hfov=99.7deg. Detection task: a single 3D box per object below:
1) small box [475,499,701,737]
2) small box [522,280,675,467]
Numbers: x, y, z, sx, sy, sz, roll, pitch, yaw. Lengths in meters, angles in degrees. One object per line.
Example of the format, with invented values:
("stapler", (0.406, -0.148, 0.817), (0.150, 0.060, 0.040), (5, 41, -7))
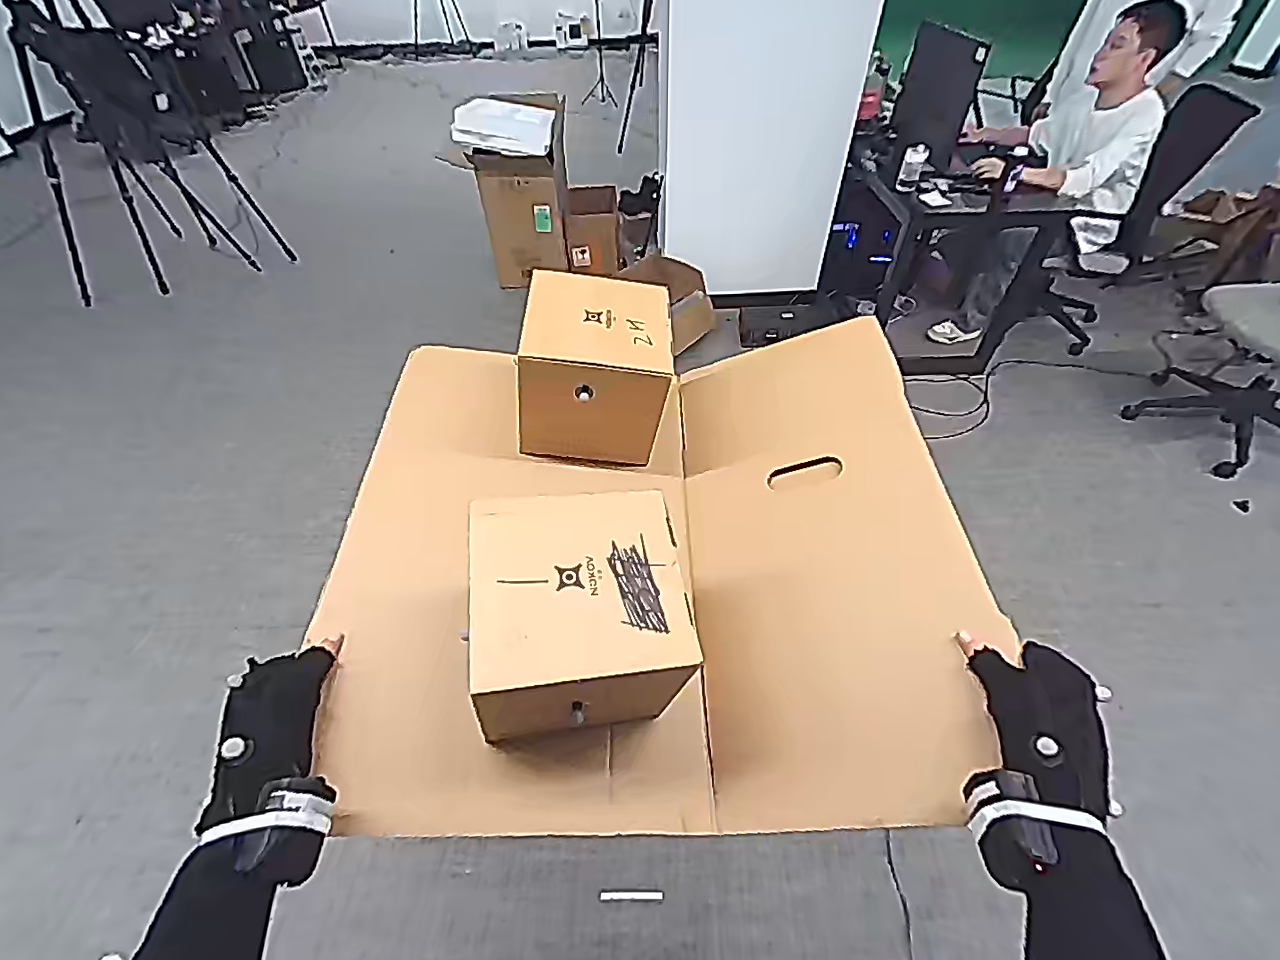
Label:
("small box", (-0.060, 0.133, 0.517), (0.179, 0.176, 0.168), (-3, 55, -13))
("small box", (-0.057, -0.134, 0.715), (0.179, 0.176, 0.168), (6, 53, -8))
